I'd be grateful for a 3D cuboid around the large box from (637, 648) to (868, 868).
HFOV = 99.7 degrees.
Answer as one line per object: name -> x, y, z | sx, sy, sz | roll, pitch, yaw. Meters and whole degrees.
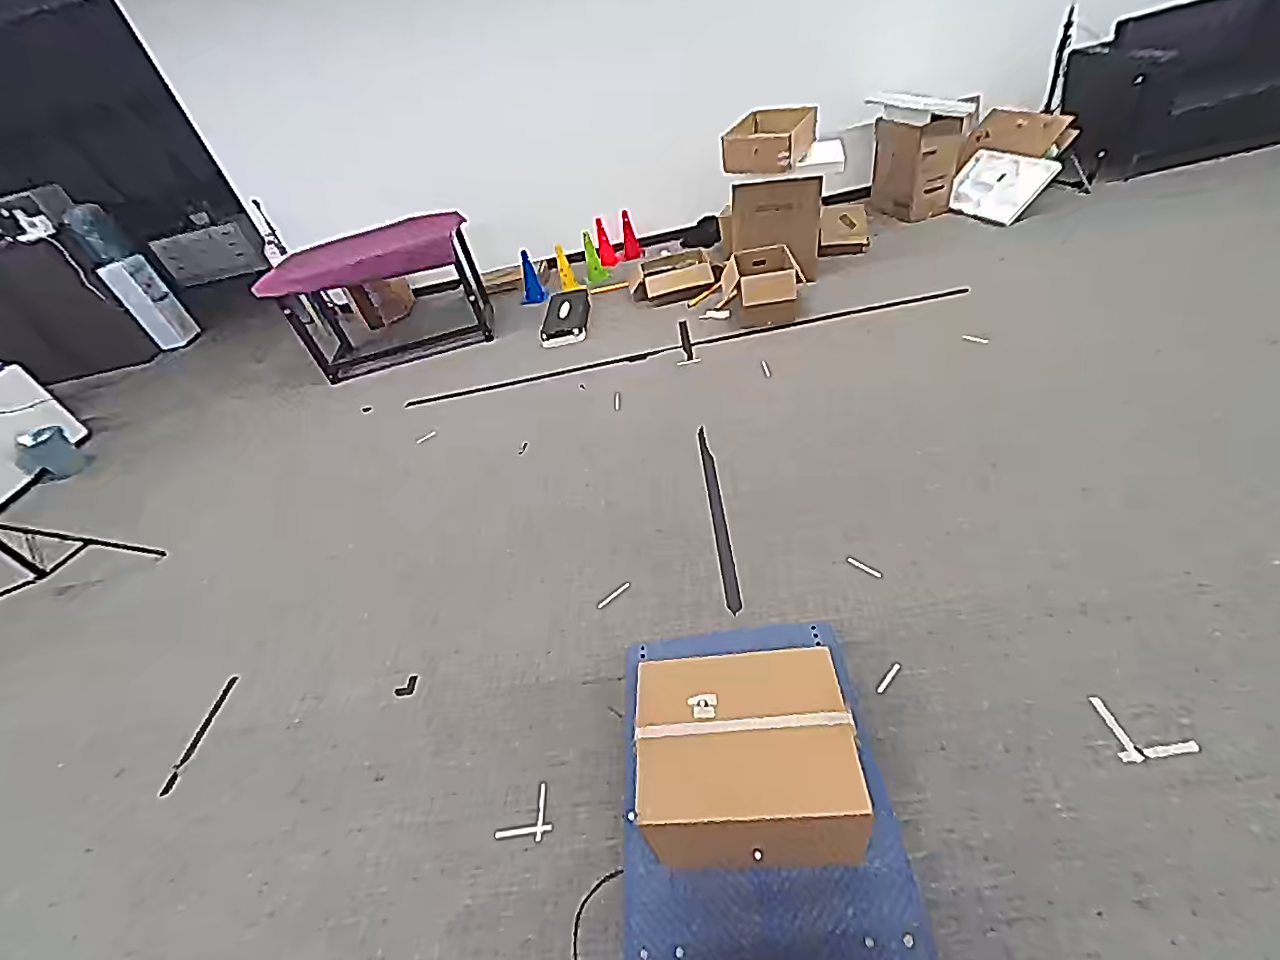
large box -> 0.223, 0.591, 1.142 | 0.408, 0.320, 0.320 | -9, 40, 9
